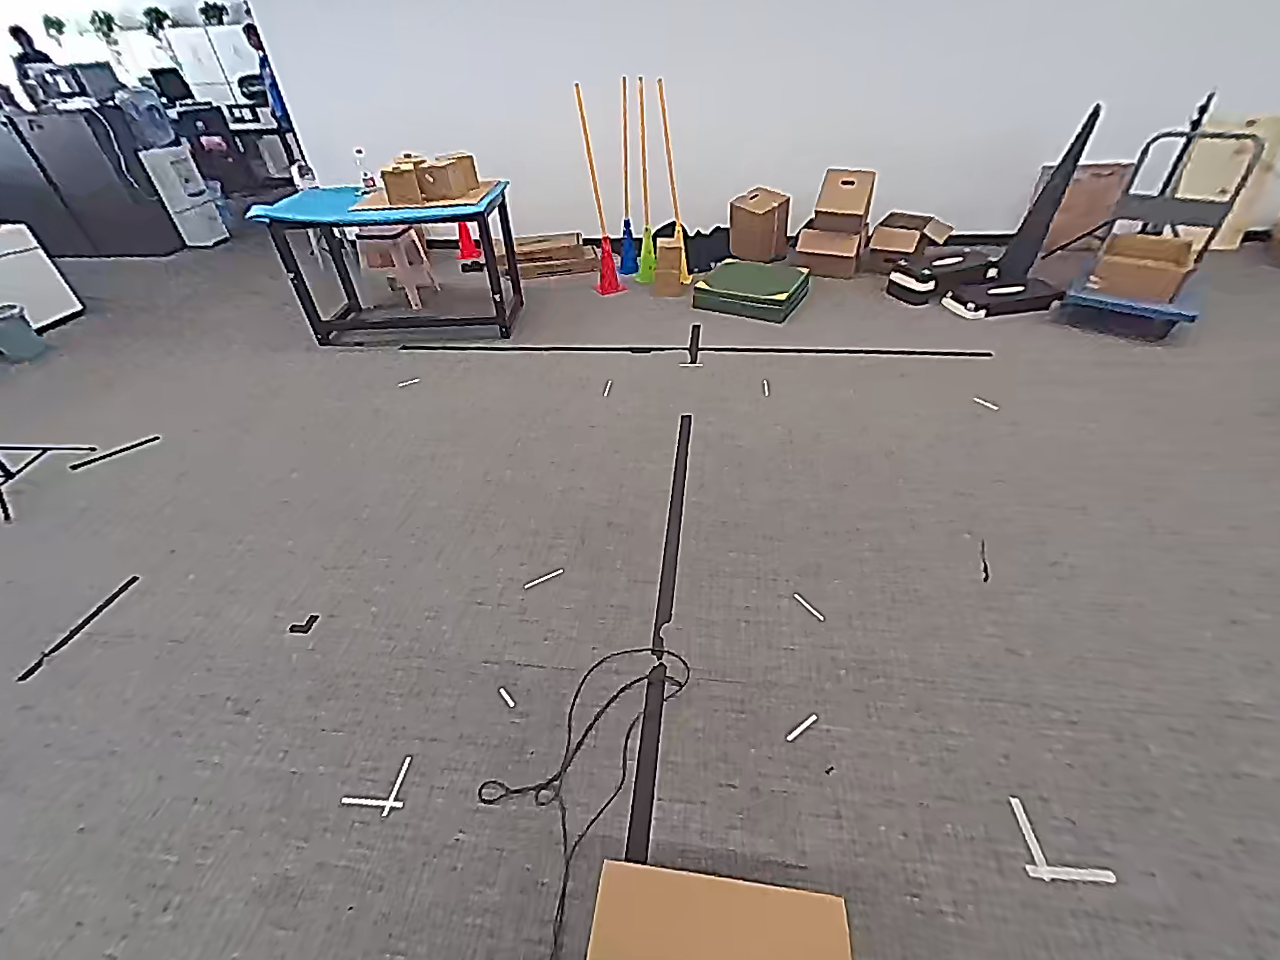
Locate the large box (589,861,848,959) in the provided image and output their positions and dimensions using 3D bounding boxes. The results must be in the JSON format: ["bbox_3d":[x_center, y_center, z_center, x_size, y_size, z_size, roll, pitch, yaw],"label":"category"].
[{"bbox_3d":[0.118,0.885,0.894,0.408,0.320,0.320,4,40,8],"label":"large box"}]
